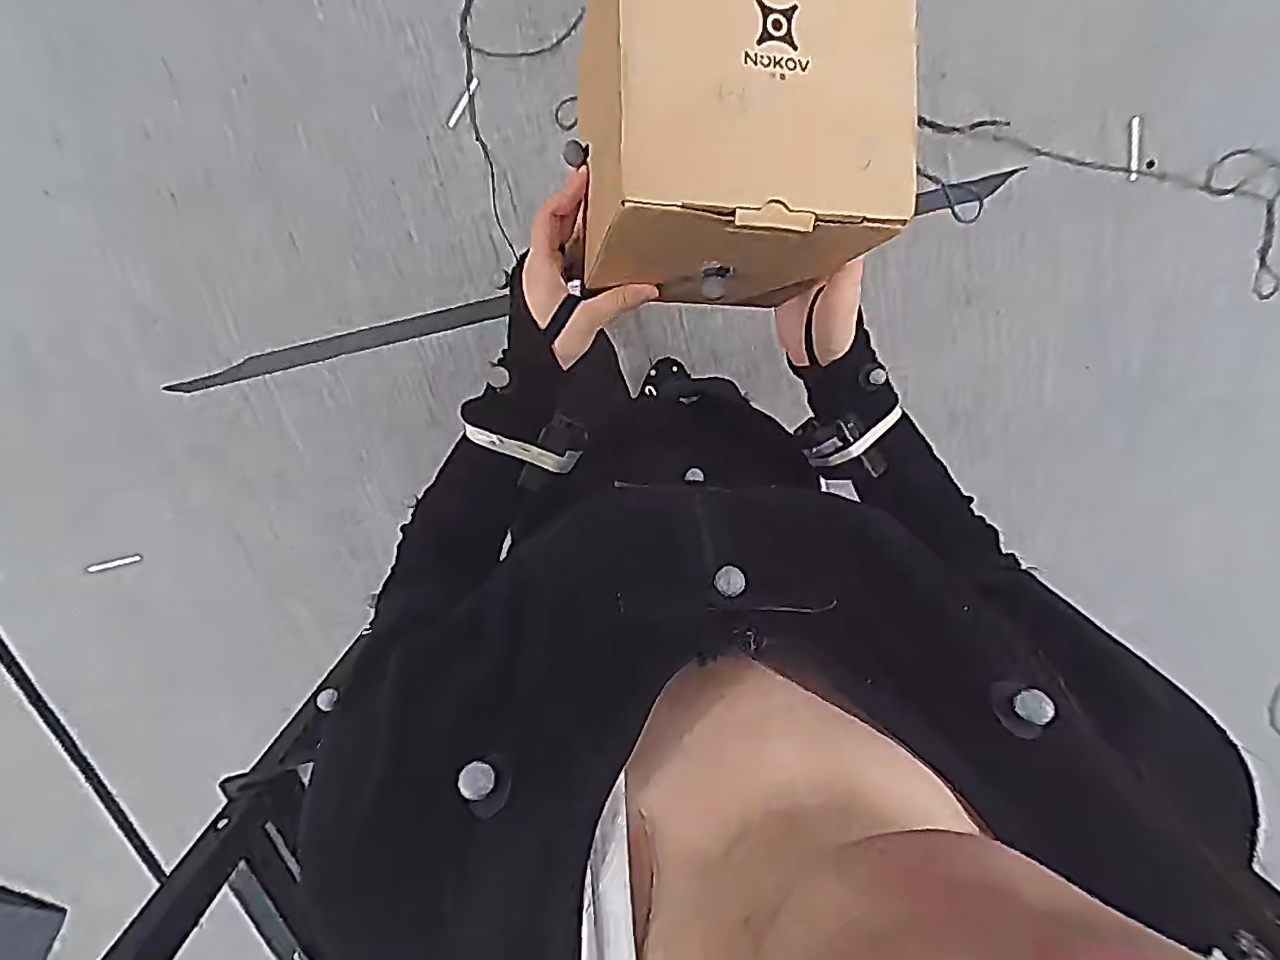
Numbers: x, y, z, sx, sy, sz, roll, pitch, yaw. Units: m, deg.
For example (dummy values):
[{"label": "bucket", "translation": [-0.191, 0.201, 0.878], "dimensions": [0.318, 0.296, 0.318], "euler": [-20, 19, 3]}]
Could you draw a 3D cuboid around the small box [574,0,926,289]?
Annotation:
[{"label": "small box", "translation": [0.051, -0.231, 0.345], "dimensions": [0.168, 0.176, 0.179], "euler": [-2, 94, -14]}]
